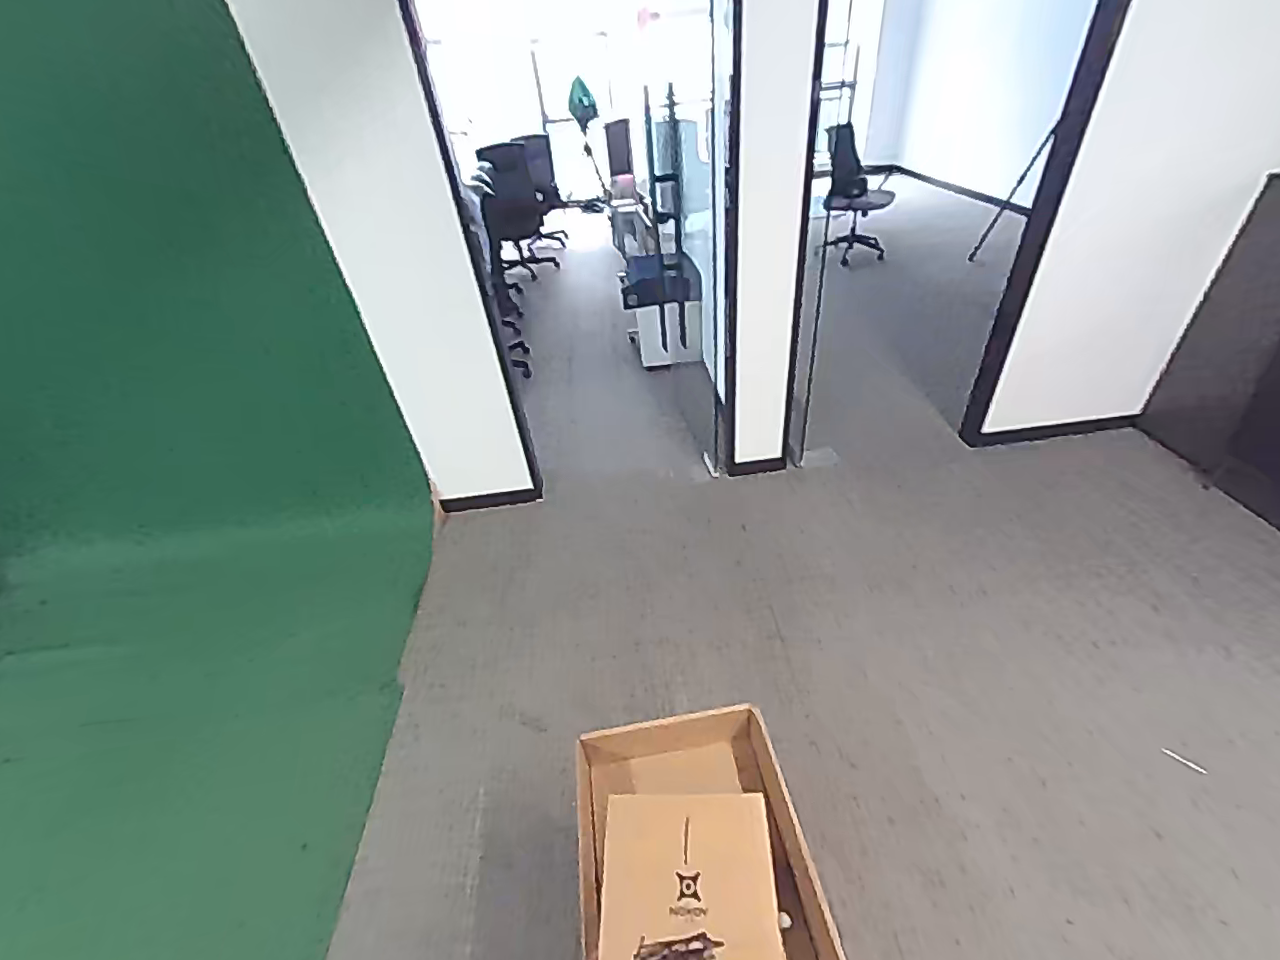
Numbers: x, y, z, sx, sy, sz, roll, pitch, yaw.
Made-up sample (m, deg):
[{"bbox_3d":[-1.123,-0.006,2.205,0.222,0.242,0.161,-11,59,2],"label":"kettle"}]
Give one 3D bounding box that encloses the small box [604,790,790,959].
[{"bbox_3d":[0.062,0.437,0.559,0.168,0.176,0.179,-4,47,6],"label":"small box"}]
